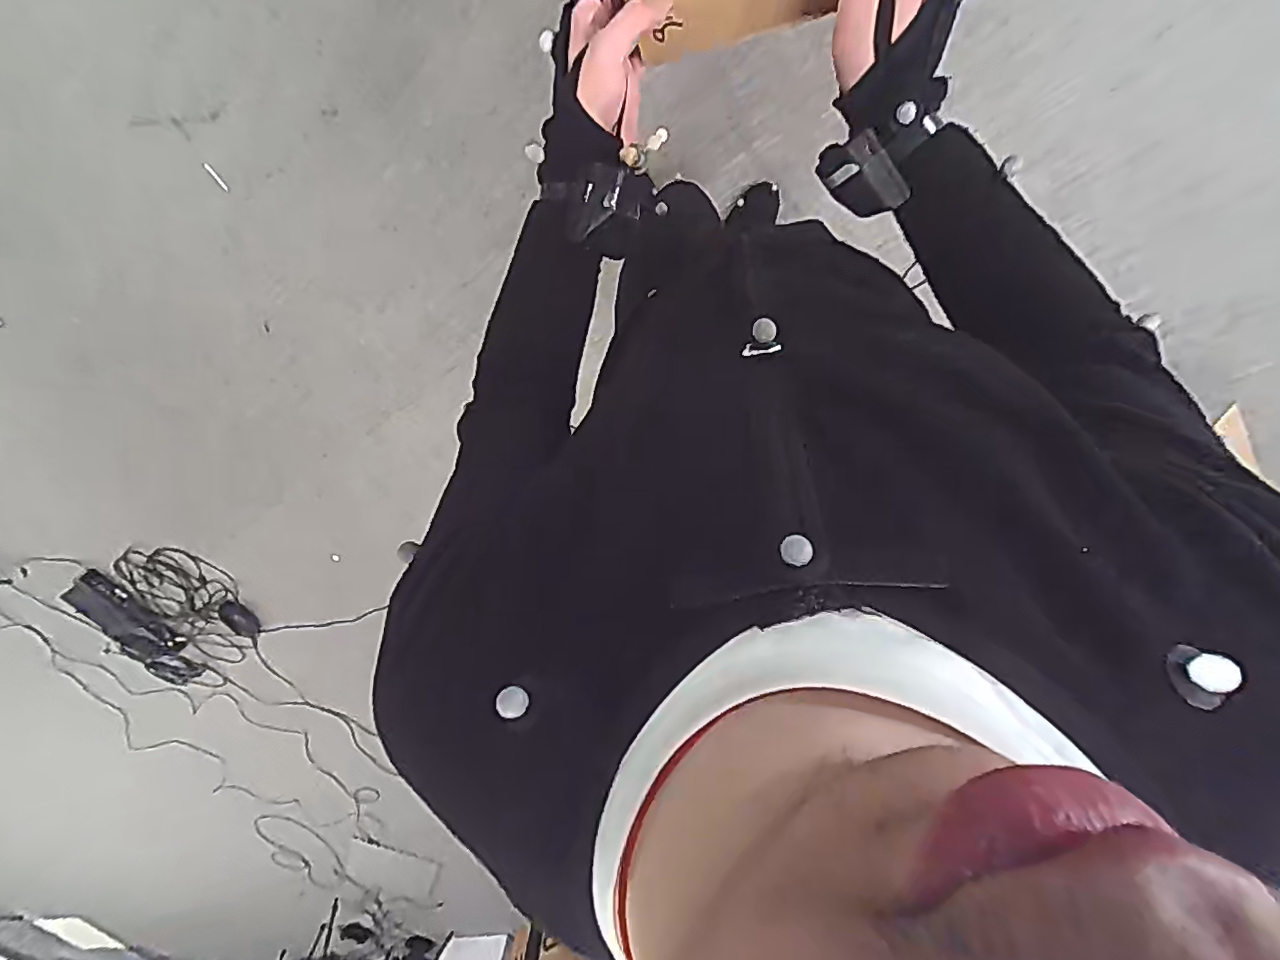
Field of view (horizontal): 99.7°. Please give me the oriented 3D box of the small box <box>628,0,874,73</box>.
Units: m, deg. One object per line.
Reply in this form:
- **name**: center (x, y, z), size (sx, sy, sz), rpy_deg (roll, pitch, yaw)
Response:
- **small box**: center (0.072, -0.445, 0.381), size (0.179, 0.176, 0.168), rpy_deg (-1, 157, 20)
